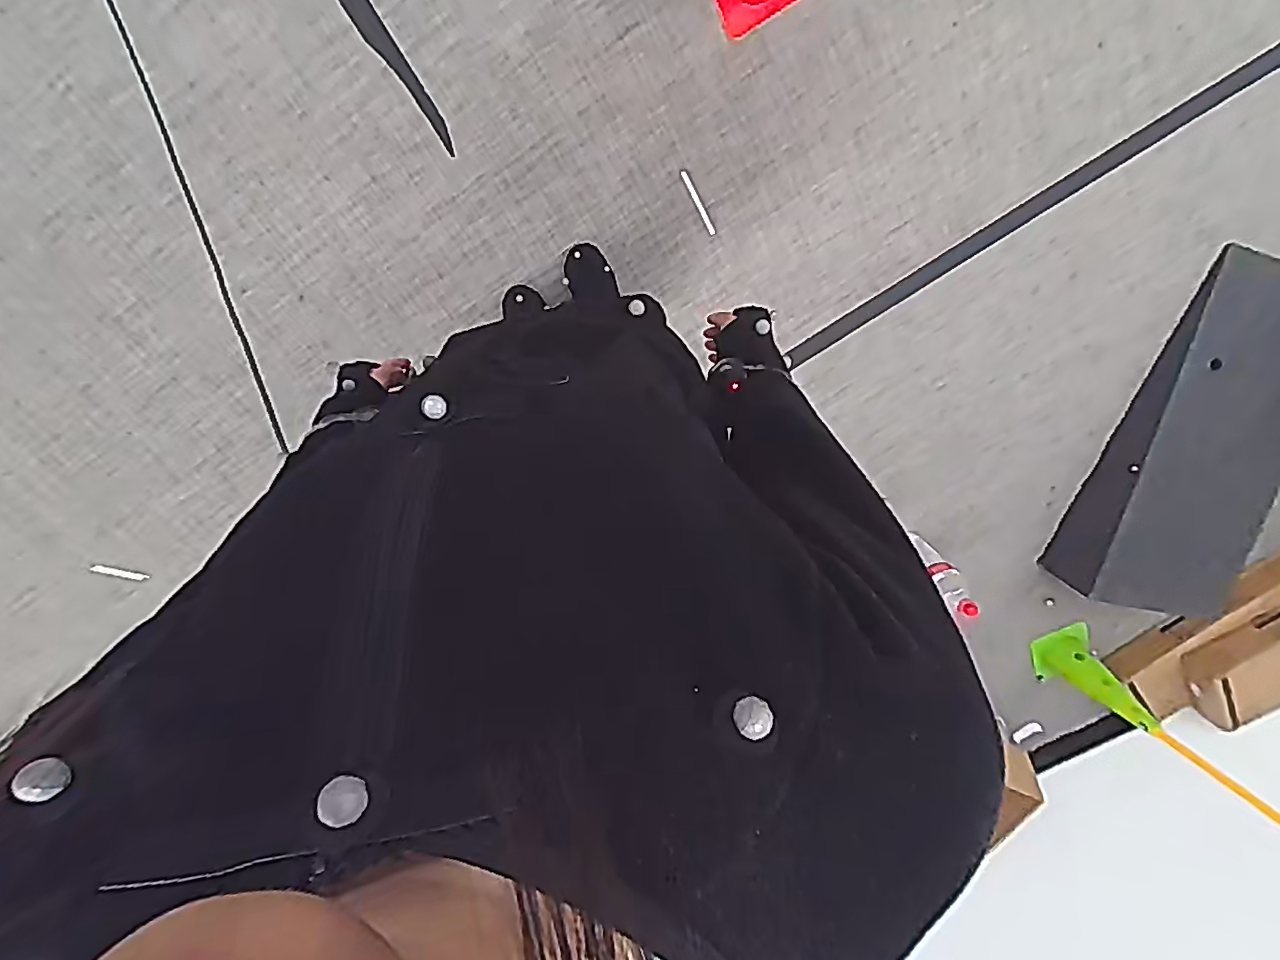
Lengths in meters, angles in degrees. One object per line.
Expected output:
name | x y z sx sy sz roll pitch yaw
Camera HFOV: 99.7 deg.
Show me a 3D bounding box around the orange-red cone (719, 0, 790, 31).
orange-red cone | 0.244 -0.961 0.901 0.198 0.360 0.199 -28 114 7
